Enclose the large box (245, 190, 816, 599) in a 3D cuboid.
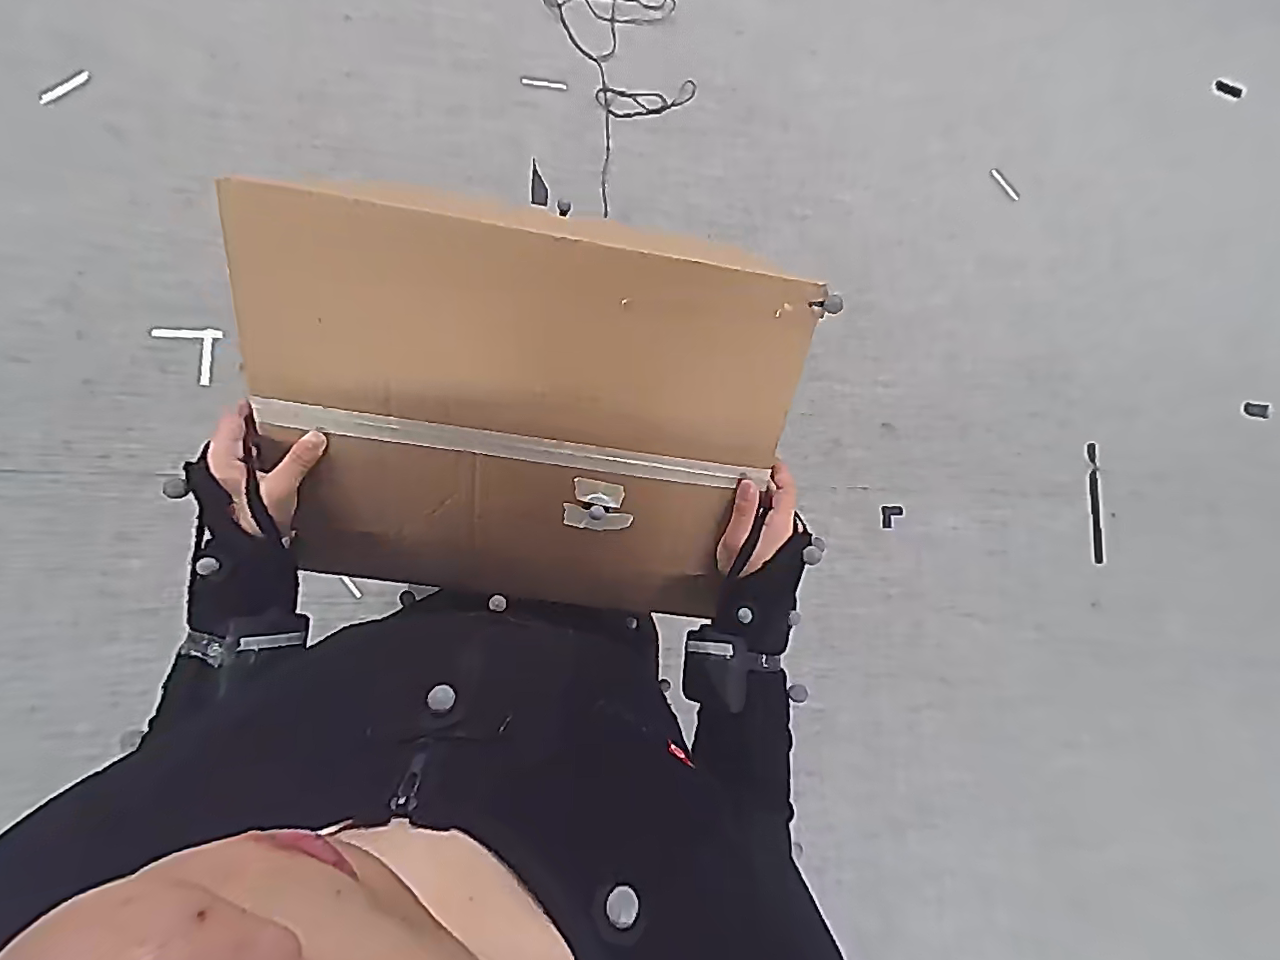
[{"bbox_3d":[-0.096,-0.107,0.574,0.408,0.320,0.320,7,119,-7],"label":"large box"}]
